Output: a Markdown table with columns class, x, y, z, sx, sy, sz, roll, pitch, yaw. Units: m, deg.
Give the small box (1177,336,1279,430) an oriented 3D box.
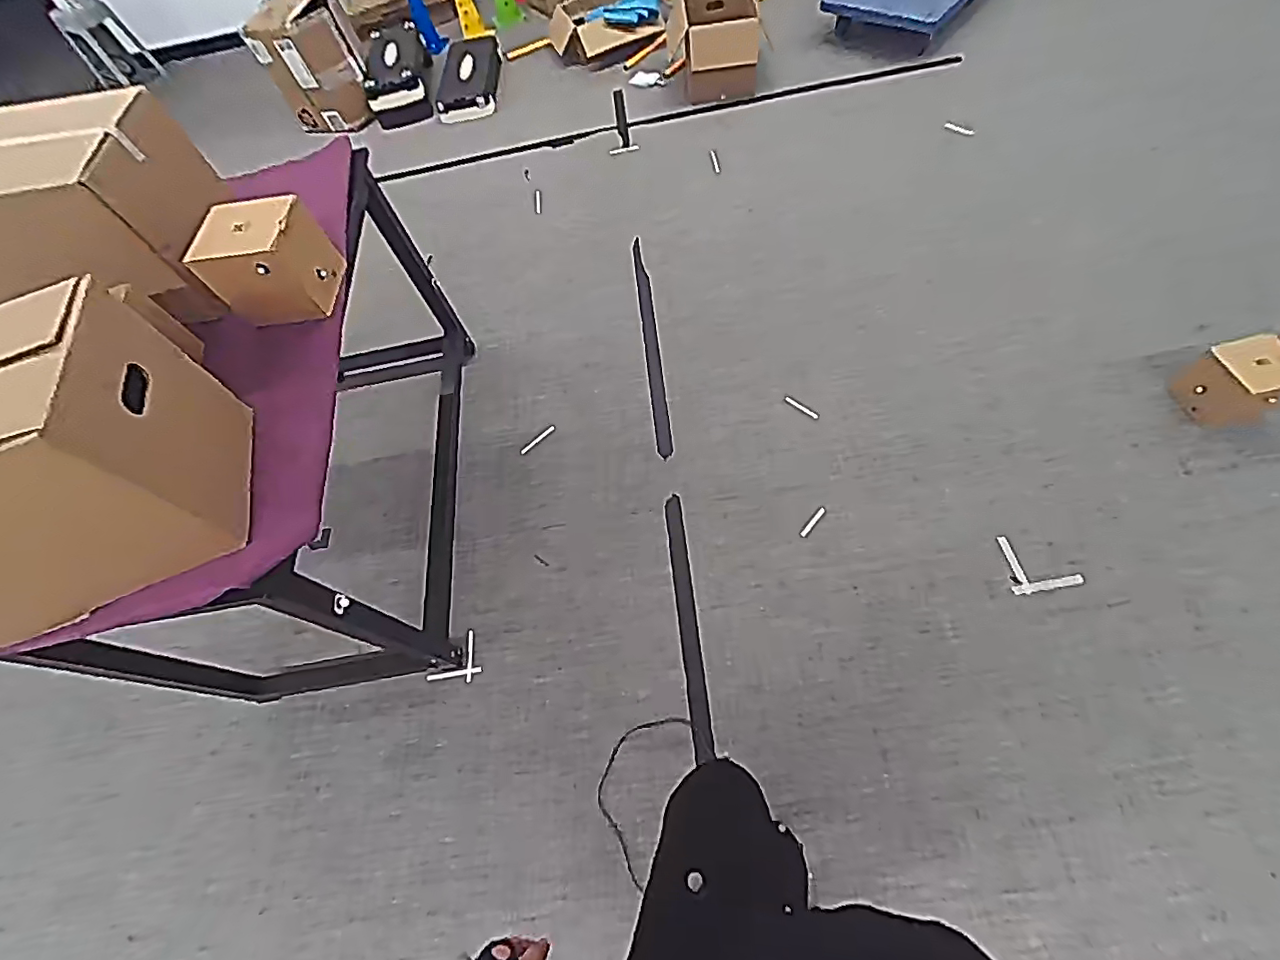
| class | x | y | z | sx | sy | sz | roll | pitch | yaw |
| --- | --- | --- | --- | --- | --- | --- | --- | --- | --- |
| small box | 1.624 | -0.256 | 1.462 | 0.179 | 0.176 | 0.168 | -12 | 60 | 1 |
